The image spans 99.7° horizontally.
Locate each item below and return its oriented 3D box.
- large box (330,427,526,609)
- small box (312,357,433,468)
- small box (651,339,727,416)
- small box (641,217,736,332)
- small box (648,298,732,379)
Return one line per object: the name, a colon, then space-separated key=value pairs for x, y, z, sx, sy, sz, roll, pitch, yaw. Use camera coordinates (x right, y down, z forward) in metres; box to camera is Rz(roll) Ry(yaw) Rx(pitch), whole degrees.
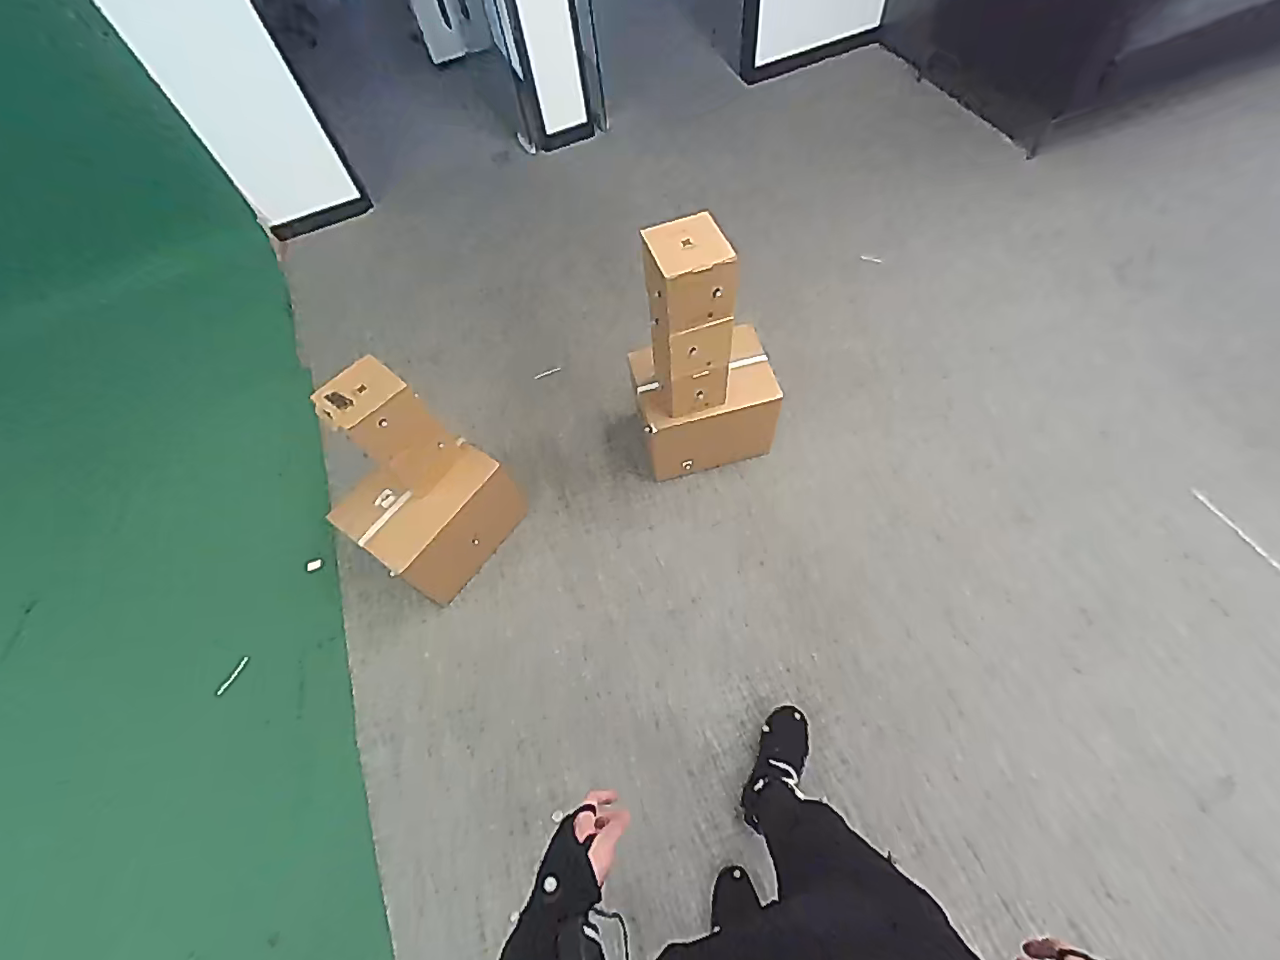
large box: x=-0.618 y=0.114 z=1.650 sx=0.320 sy=0.320 sz=0.408 roll=29 pitch=68 yaw=21
small box: x=-0.651 y=-0.162 z=1.336 sx=0.168 sy=0.176 sz=0.179 roll=37 pitch=69 yaw=23
small box: x=0.138 y=-0.302 z=1.530 sx=0.168 sy=0.176 sz=0.179 roll=-16 pitch=61 yaw=-4
small box: x=0.111 y=-0.465 z=1.250 sx=0.168 sy=0.176 sz=0.179 roll=-18 pitch=59 yaw=-5
small box: x=0.127 y=-0.381 z=1.388 sx=0.168 sy=0.176 sz=0.179 roll=-17 pitch=60 yaw=-4
